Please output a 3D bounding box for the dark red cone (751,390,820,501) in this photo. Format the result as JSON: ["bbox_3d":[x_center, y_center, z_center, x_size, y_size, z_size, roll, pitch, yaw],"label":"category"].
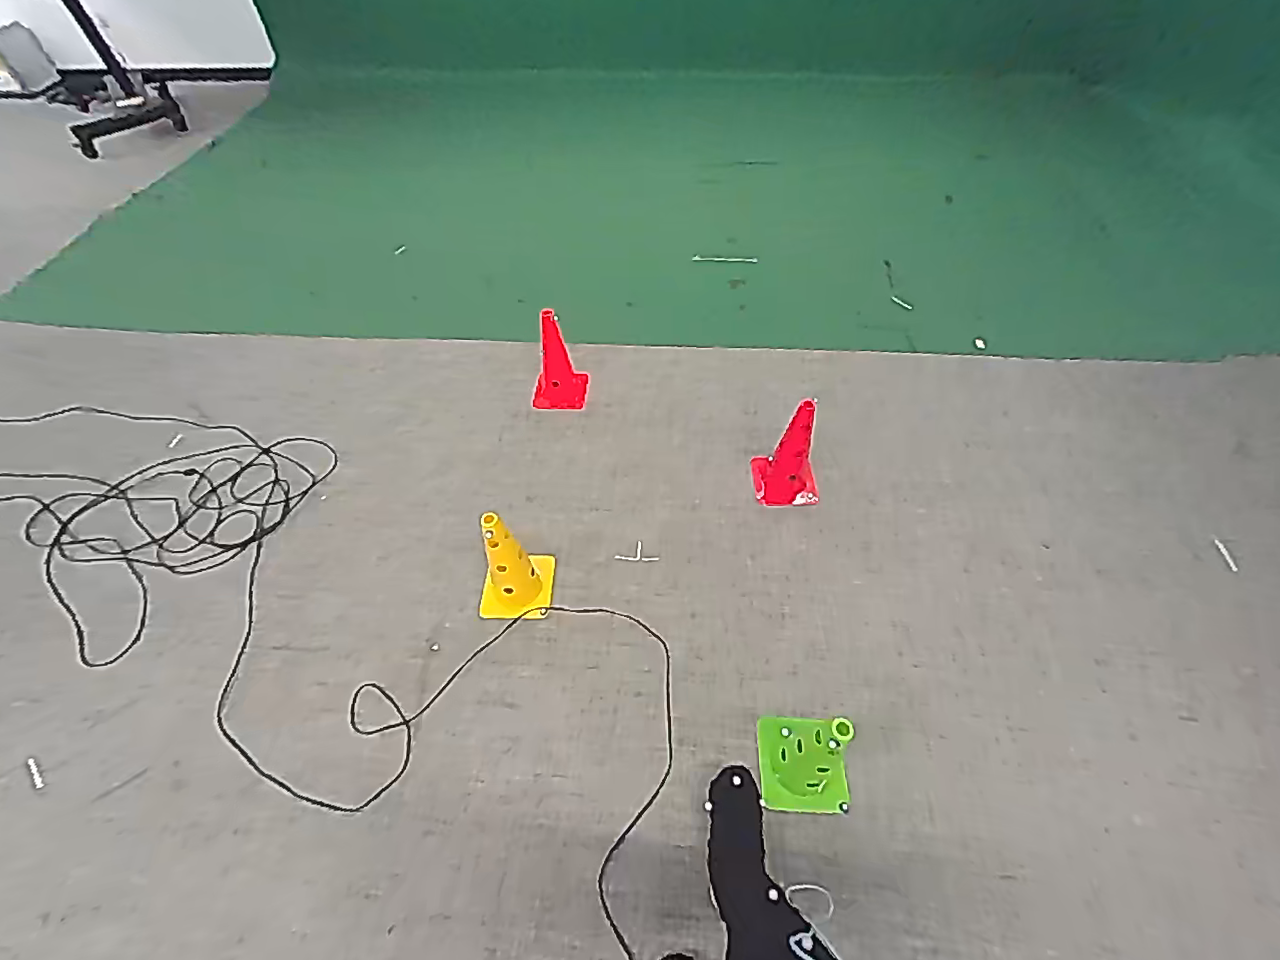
[{"bbox_3d":[0.470,-0.115,1.642,0.202,0.394,0.201,-2,51,0],"label":"dark red cone"}]

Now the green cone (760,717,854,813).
[{"bbox_3d":[0.384,0.569,1.150,0.202,0.368,0.200,0,52,3],"label":"green cone"}]

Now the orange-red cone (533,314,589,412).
[{"bbox_3d":[-0.309,-0.435,1.940,0.198,0.360,0.199,2,54,4],"label":"orange-red cone"}]
